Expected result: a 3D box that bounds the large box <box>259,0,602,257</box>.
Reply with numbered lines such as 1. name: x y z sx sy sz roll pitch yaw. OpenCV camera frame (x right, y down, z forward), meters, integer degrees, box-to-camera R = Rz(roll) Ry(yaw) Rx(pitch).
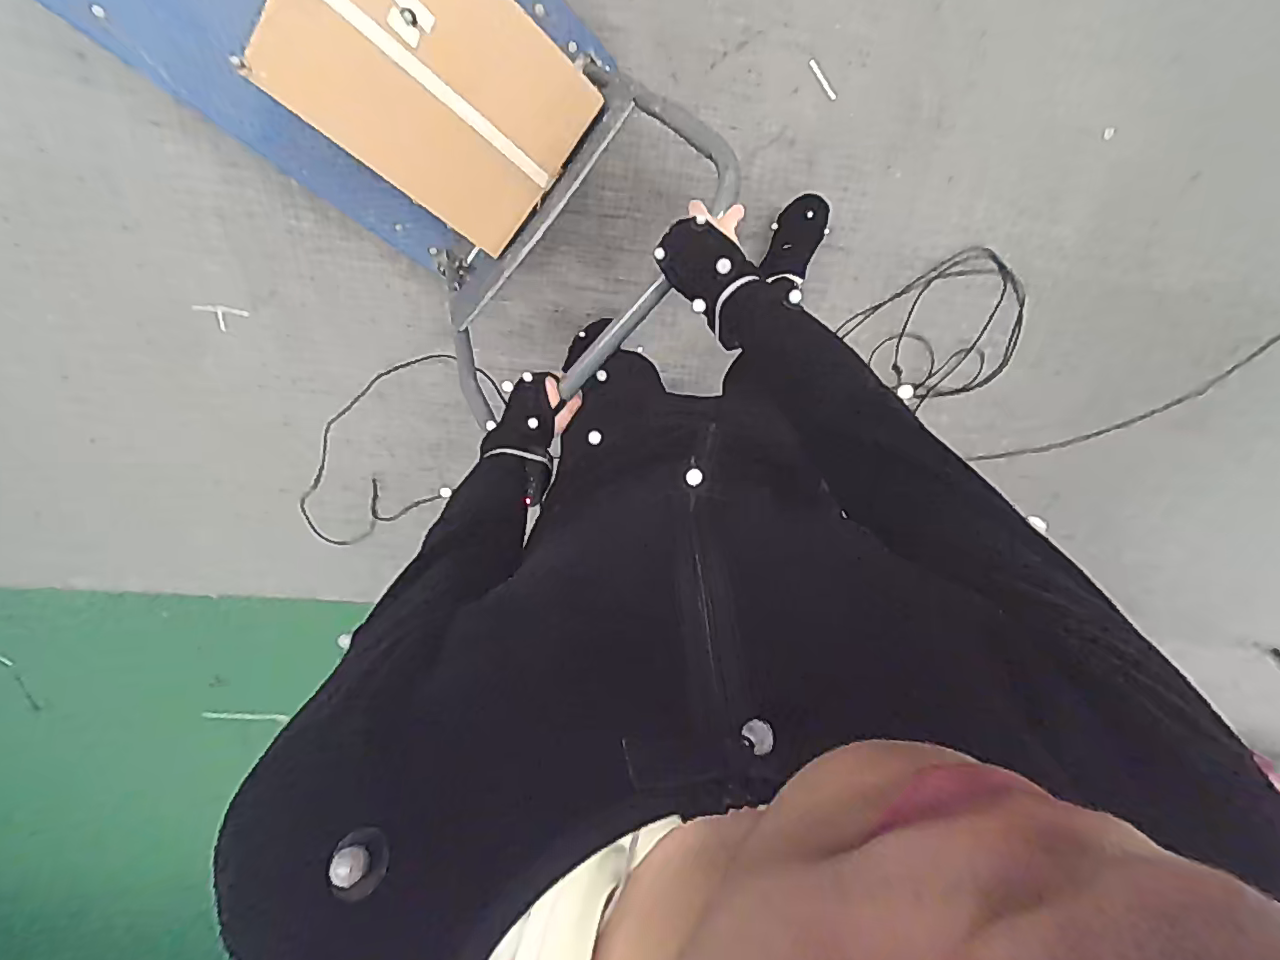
1. large box: -0.333 -0.672 0.927 0.408 0.320 0.320 28 116 -35
